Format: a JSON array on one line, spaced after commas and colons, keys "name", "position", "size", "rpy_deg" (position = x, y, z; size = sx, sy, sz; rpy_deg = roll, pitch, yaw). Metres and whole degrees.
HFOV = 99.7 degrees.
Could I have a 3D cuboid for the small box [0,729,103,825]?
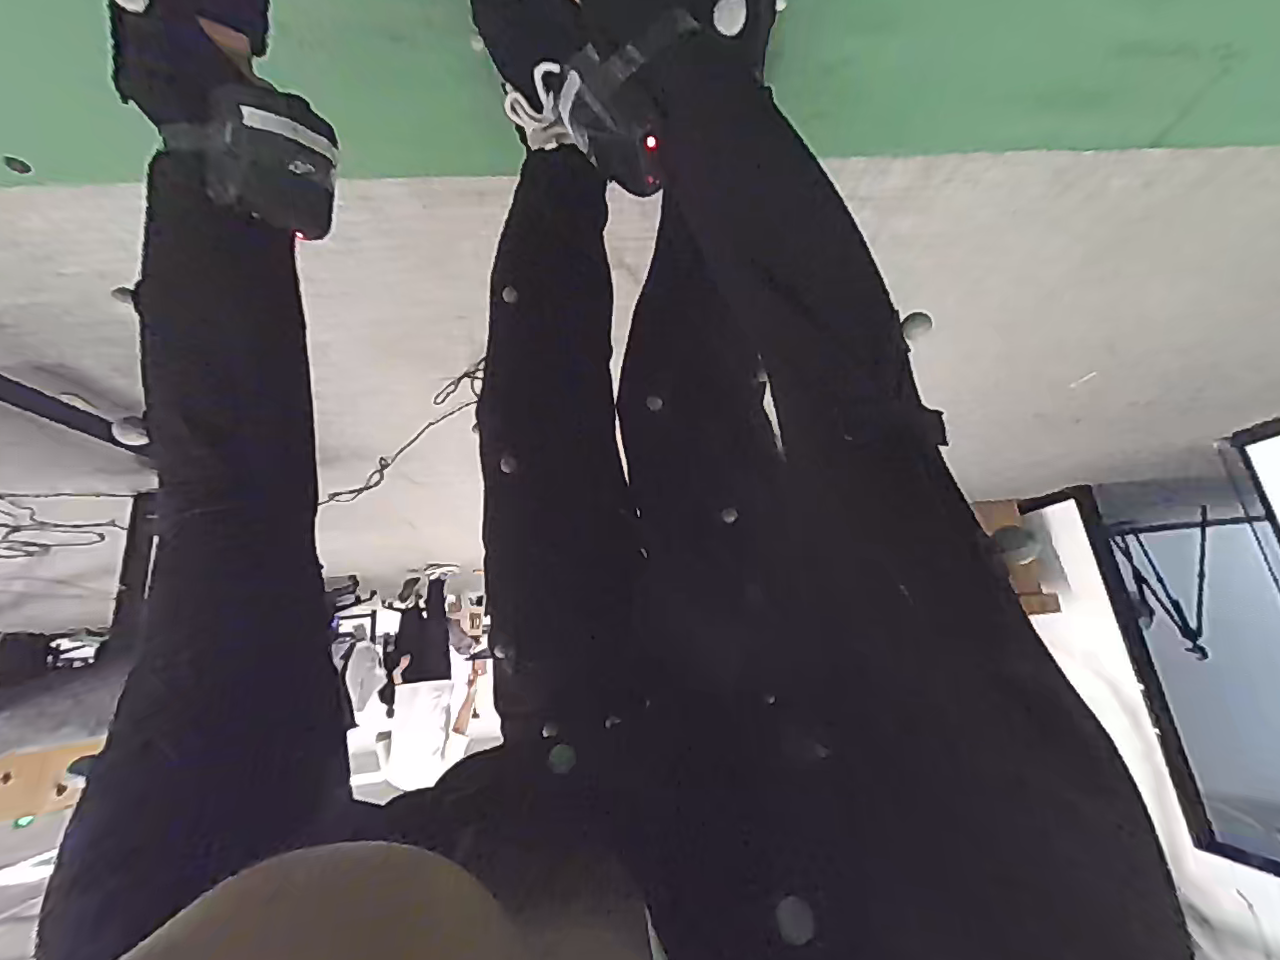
[{"name": "small box", "position": [-1.434, 0.700, 1.274], "size": [0.168, 0.176, 0.179], "rpy_deg": [-6, 163, -6]}]
